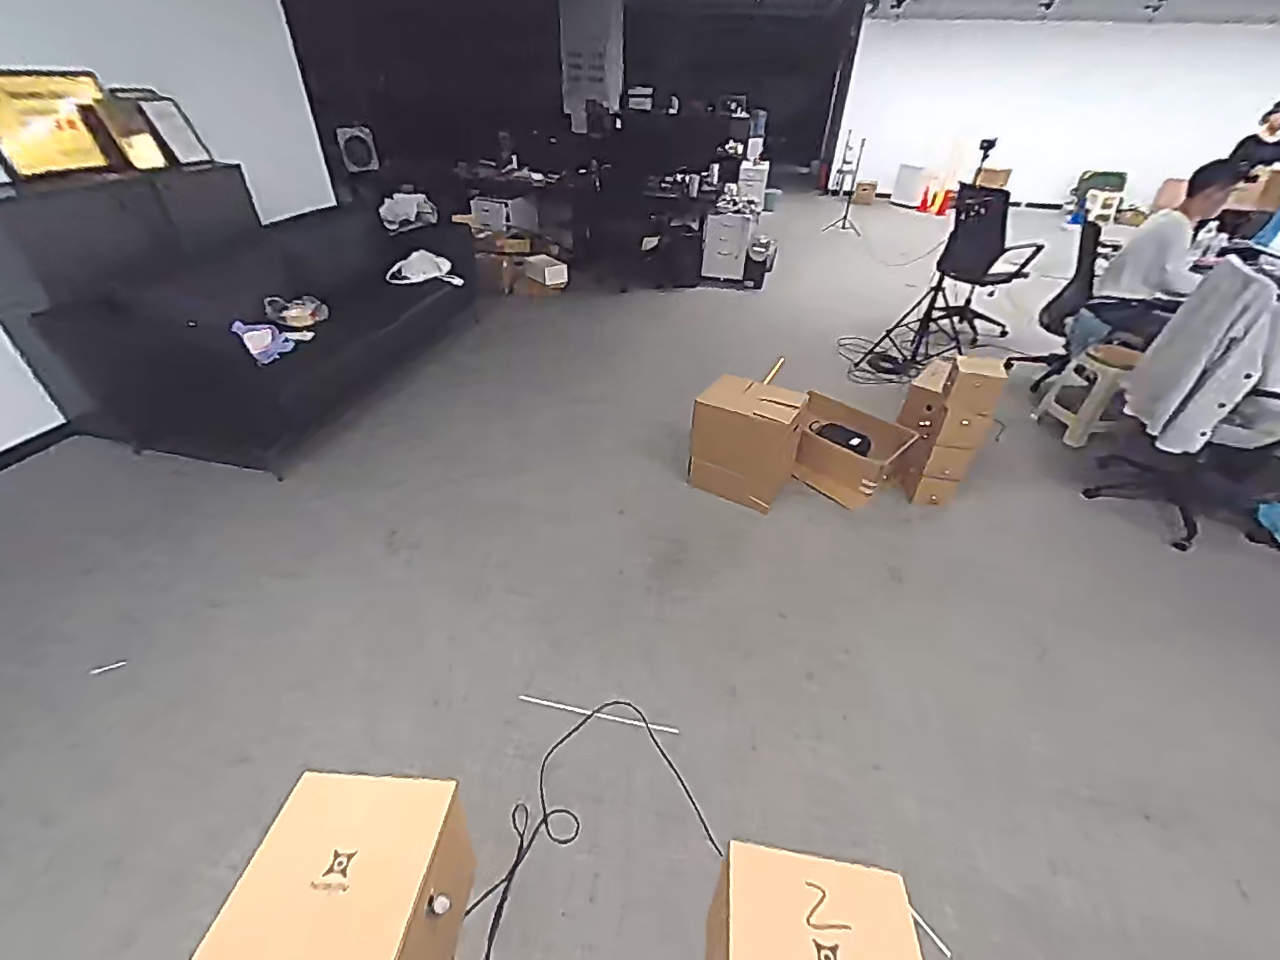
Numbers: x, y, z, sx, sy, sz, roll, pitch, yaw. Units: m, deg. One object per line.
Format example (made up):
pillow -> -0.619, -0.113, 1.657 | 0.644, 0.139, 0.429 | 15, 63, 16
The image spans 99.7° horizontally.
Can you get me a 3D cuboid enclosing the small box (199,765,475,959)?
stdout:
small box -> -0.276, 0.423, 0.545 | 0.168, 0.176, 0.179 | 2, 31, 2
